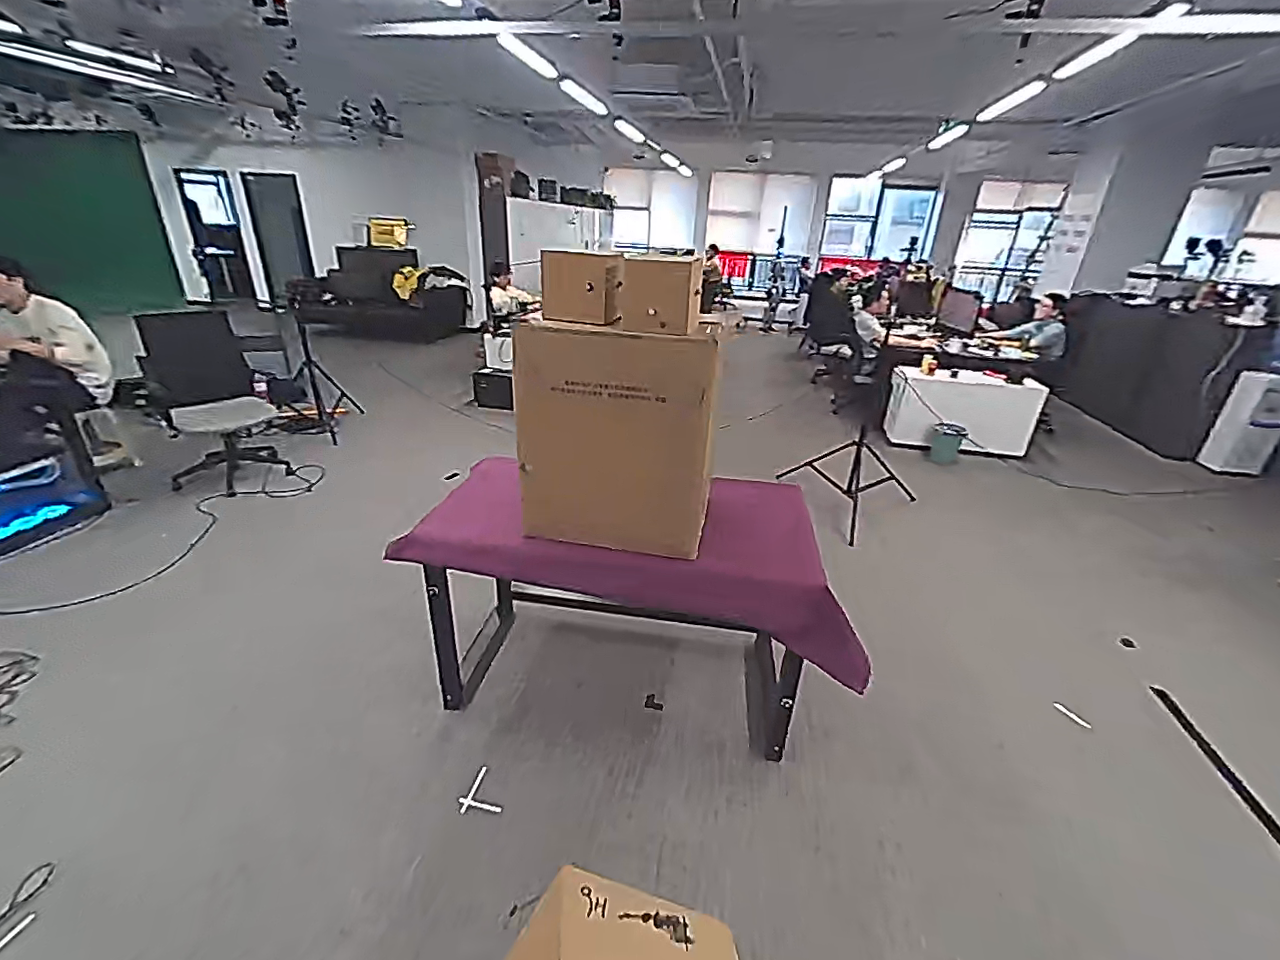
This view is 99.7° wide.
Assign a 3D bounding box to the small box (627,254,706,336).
[{"bbox_3d":[0.064,-0.462,1.338,0.168,0.176,0.179,8,26,12],"label":"small box"}]

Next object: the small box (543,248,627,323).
[{"bbox_3d":[-0.142,-0.511,1.419,0.179,0.176,0.168,8,25,11],"label":"small box"}]
